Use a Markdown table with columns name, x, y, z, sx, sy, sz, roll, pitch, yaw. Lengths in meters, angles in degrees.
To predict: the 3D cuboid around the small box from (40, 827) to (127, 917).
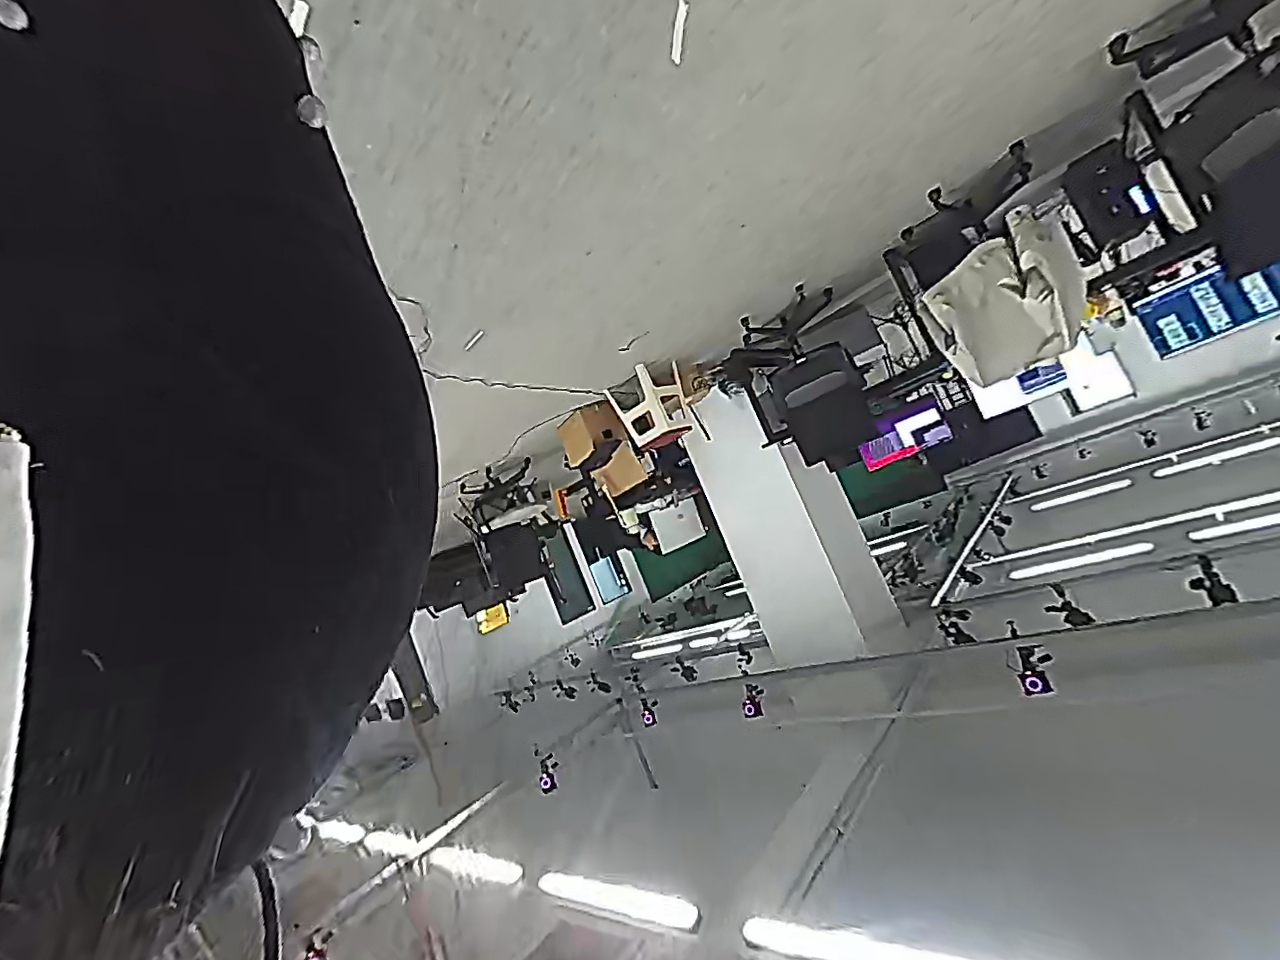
| name | x | y | z | sx | sy | sz | roll | pitch | yaw |
| --- | --- | --- | --- | --- | --- | --- | --- | --- | --- |
| small box | -1.771 | 1.242 | 1.725 | 0.168 | 0.176 | 0.179 | -15 | 172 | -43 |

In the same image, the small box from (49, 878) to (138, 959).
| name | x | y | z | sx | sy | sz | roll | pitch | yaw |
| --- | --- | --- | --- | --- | --- | --- | --- | --- | --- |
| small box | -1.713 | 1.395 | 1.699 | 0.168 | 0.176 | 0.179 | -16 | 173 | -41 |
